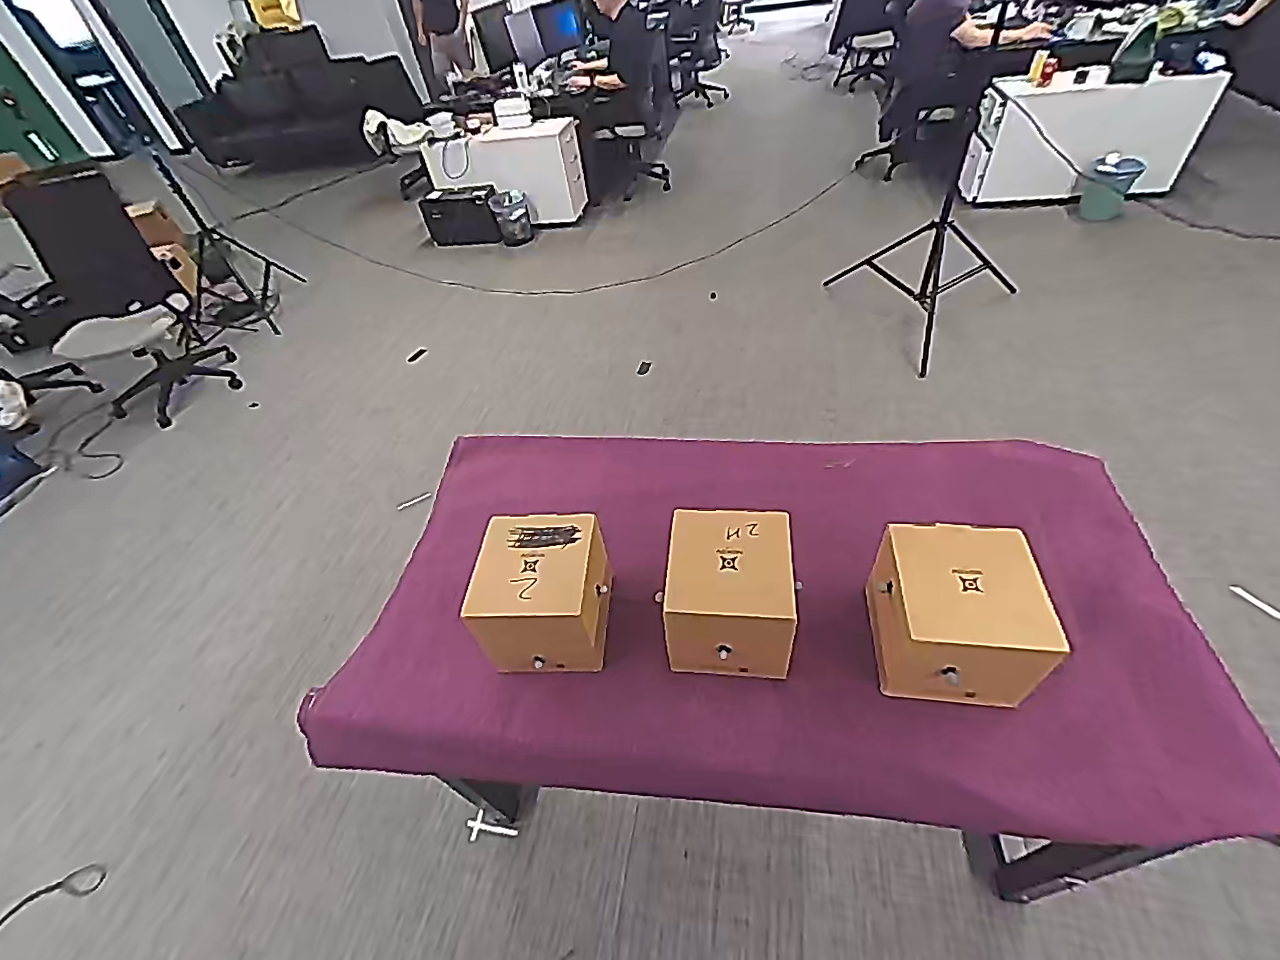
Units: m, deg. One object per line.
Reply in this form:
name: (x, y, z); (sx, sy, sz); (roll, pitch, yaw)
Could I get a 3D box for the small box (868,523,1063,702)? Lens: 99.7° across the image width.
small box: (0.415, 0.179, 0.728); (0.168, 0.176, 0.179); (1, 46, 11)

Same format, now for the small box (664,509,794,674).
small box: (0.131, 0.163, 0.787); (0.168, 0.176, 0.179); (2, 45, 9)
